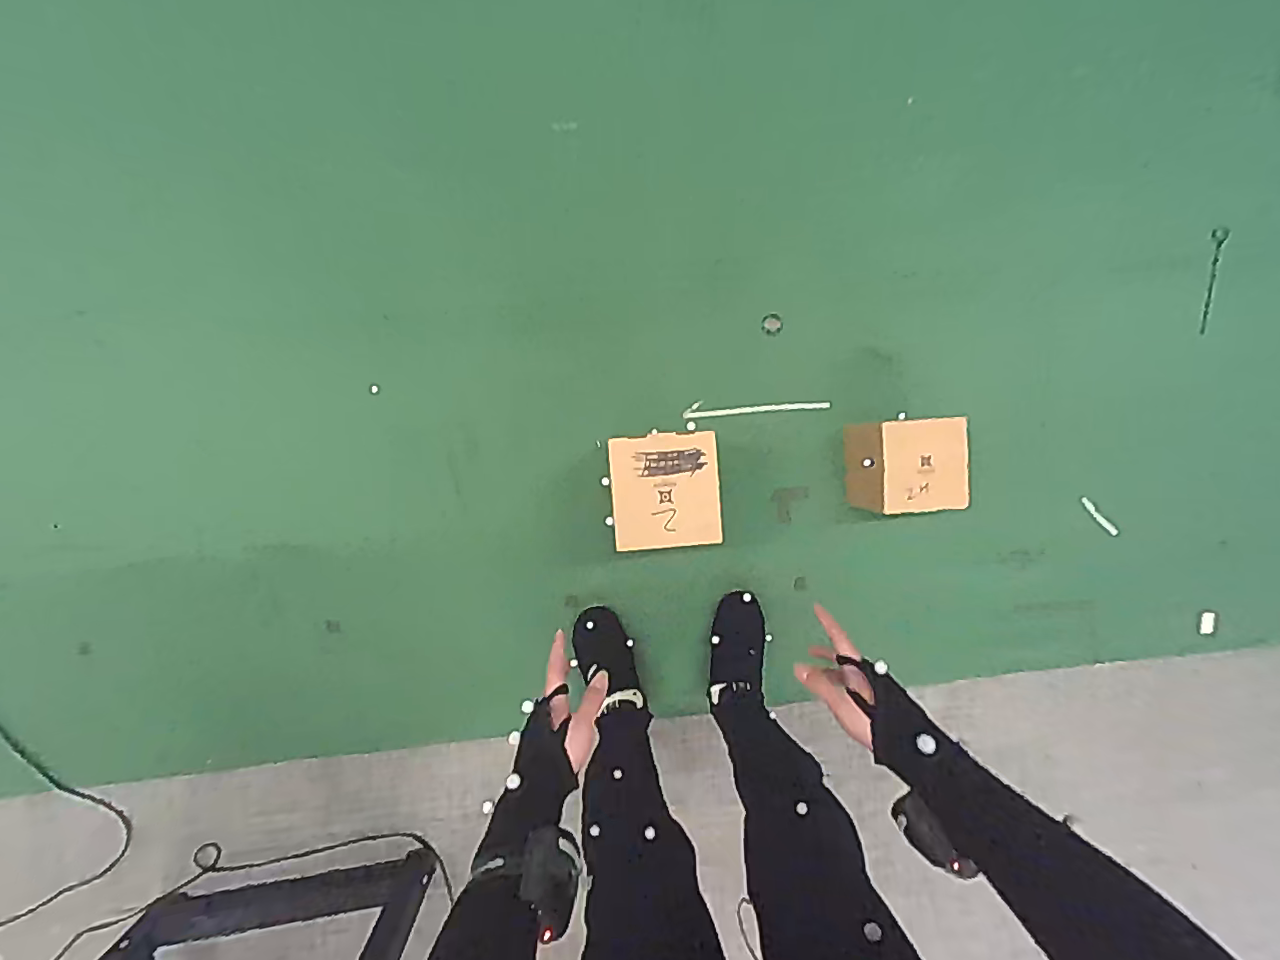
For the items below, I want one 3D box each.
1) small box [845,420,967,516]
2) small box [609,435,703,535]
[{"bbox_3d":[0.529,-0.026,1.094,0.168,0.176,0.179,-3,94,-4],"label":"small box"},{"bbox_3d":[0.028,0.005,1.064,0.168,0.176,0.179,-4,93,-3],"label":"small box"}]
